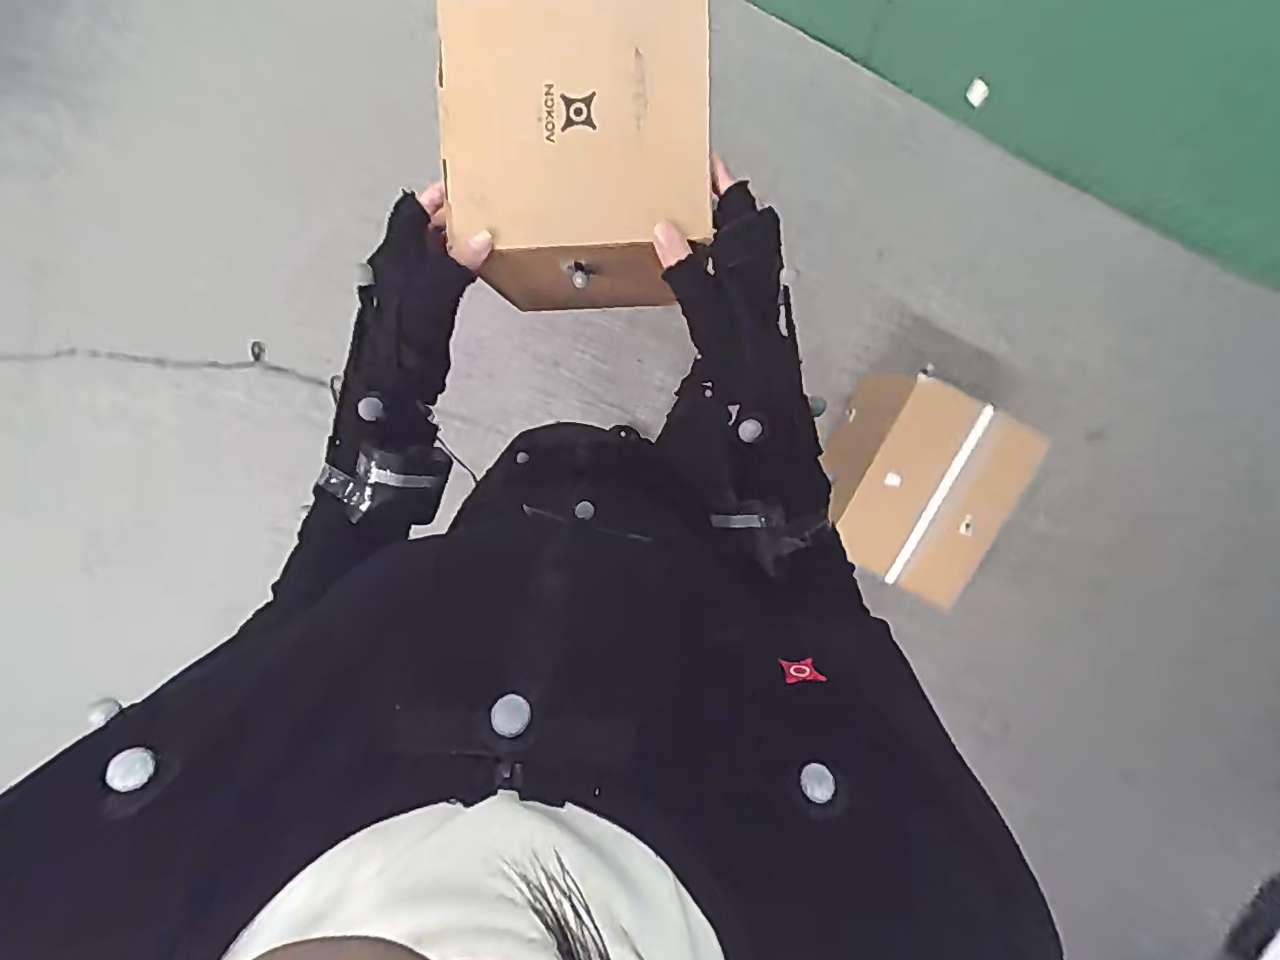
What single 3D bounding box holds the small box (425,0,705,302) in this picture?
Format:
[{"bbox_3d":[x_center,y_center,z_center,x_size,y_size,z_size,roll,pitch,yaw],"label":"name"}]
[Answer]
[{"bbox_3d":[-0.040,-0.244,0.421,0.179,0.176,0.168,-3,95,6],"label":"small box"}]
